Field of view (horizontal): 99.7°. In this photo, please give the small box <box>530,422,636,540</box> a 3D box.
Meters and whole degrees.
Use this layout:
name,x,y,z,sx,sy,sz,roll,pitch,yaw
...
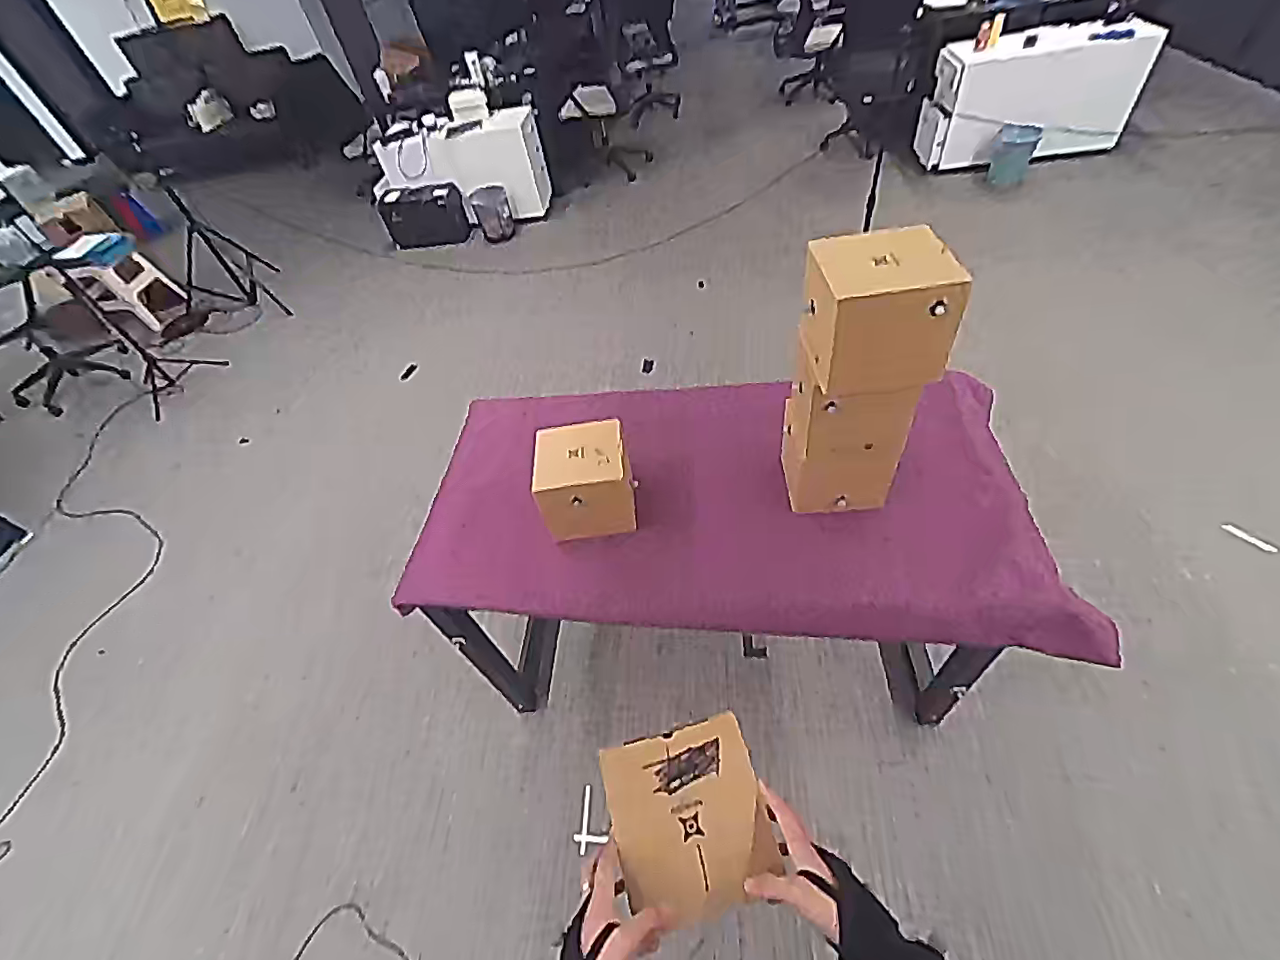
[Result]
name,x,y,z,sx,sy,sz,roll,pitch,yaw
small box,-0.109,0.007,1.097,0.179,0.176,0.168,-8,48,3

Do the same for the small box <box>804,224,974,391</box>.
name,x,y,z,sx,sy,sz,roll,pitch,yaw
small box,0.346,-0.248,0.798,0.179,0.176,0.168,-7,48,5

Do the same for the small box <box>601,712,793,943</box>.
name,x,y,z,sx,sy,sz,roll,pitch,yaw
small box,0.051,0.396,0.636,0.168,0.176,0.179,-12,61,-9

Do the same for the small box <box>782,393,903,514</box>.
name,x,y,z,sx,sy,sz,roll,pitch,yaw
small box,0.382,-0.048,1.057,0.179,0.176,0.168,-4,48,6
